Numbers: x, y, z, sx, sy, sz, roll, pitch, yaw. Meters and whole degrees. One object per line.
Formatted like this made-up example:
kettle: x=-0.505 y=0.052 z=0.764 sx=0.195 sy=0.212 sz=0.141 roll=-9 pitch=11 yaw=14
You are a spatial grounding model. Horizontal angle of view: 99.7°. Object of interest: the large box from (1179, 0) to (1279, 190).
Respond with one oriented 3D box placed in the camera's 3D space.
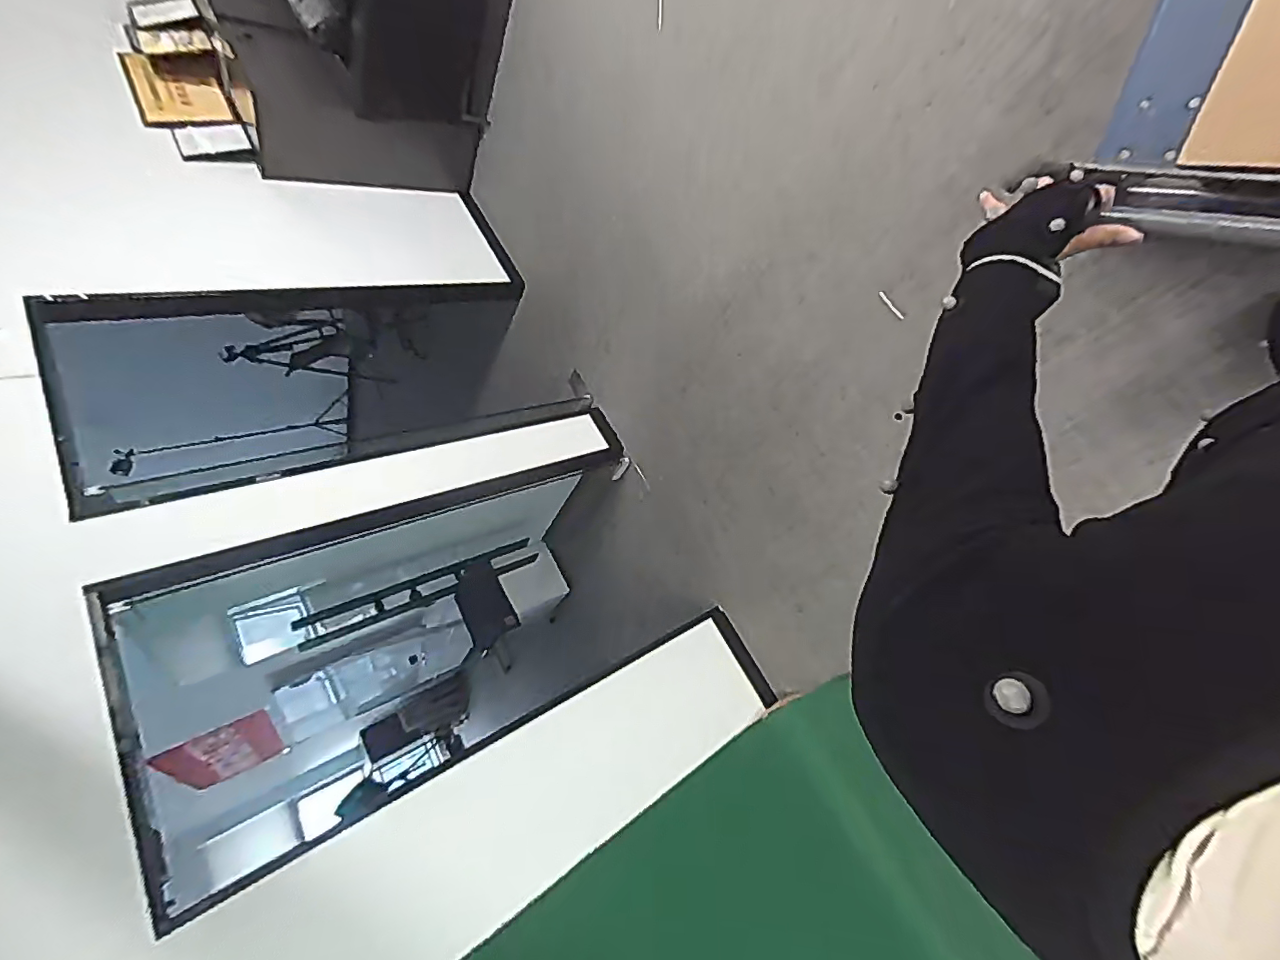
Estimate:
large box: x=1.022 y=-0.612 z=0.703 sx=0.320 sy=0.320 sz=0.408 roll=32 pitch=126 yaw=40
